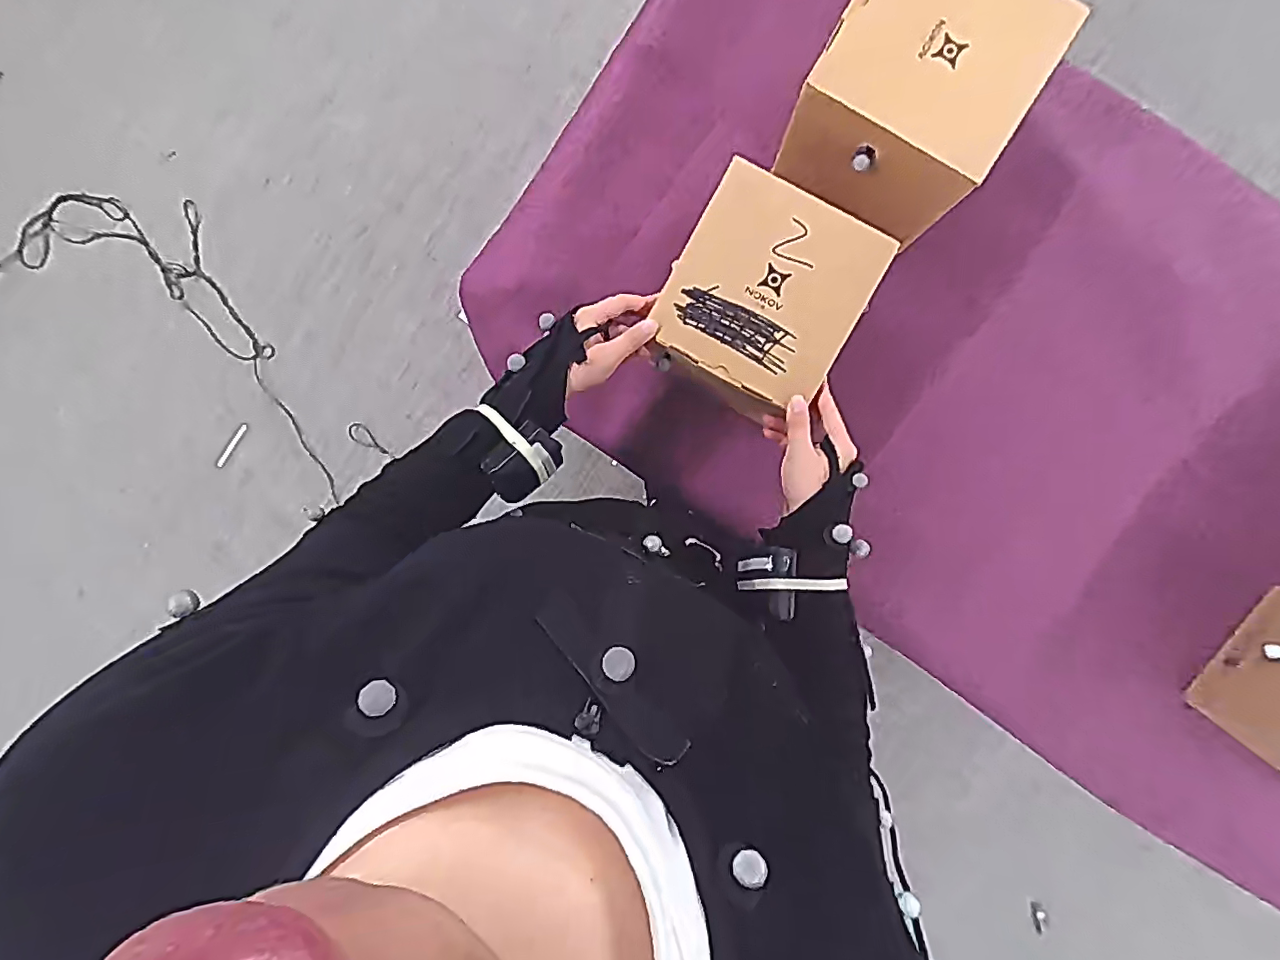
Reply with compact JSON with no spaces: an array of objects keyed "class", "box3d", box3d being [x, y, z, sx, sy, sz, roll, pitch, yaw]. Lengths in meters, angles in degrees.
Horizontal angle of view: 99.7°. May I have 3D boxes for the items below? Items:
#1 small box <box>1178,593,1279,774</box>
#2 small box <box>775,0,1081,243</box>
[{"class":"small box","box3d":[0.726,0.236,0.538,0.179,0.176,0.168,37,92,2]},{"class":"small box","box3d":[0.262,-0.367,0.541,0.179,0.176,0.168,32,94,2]}]
